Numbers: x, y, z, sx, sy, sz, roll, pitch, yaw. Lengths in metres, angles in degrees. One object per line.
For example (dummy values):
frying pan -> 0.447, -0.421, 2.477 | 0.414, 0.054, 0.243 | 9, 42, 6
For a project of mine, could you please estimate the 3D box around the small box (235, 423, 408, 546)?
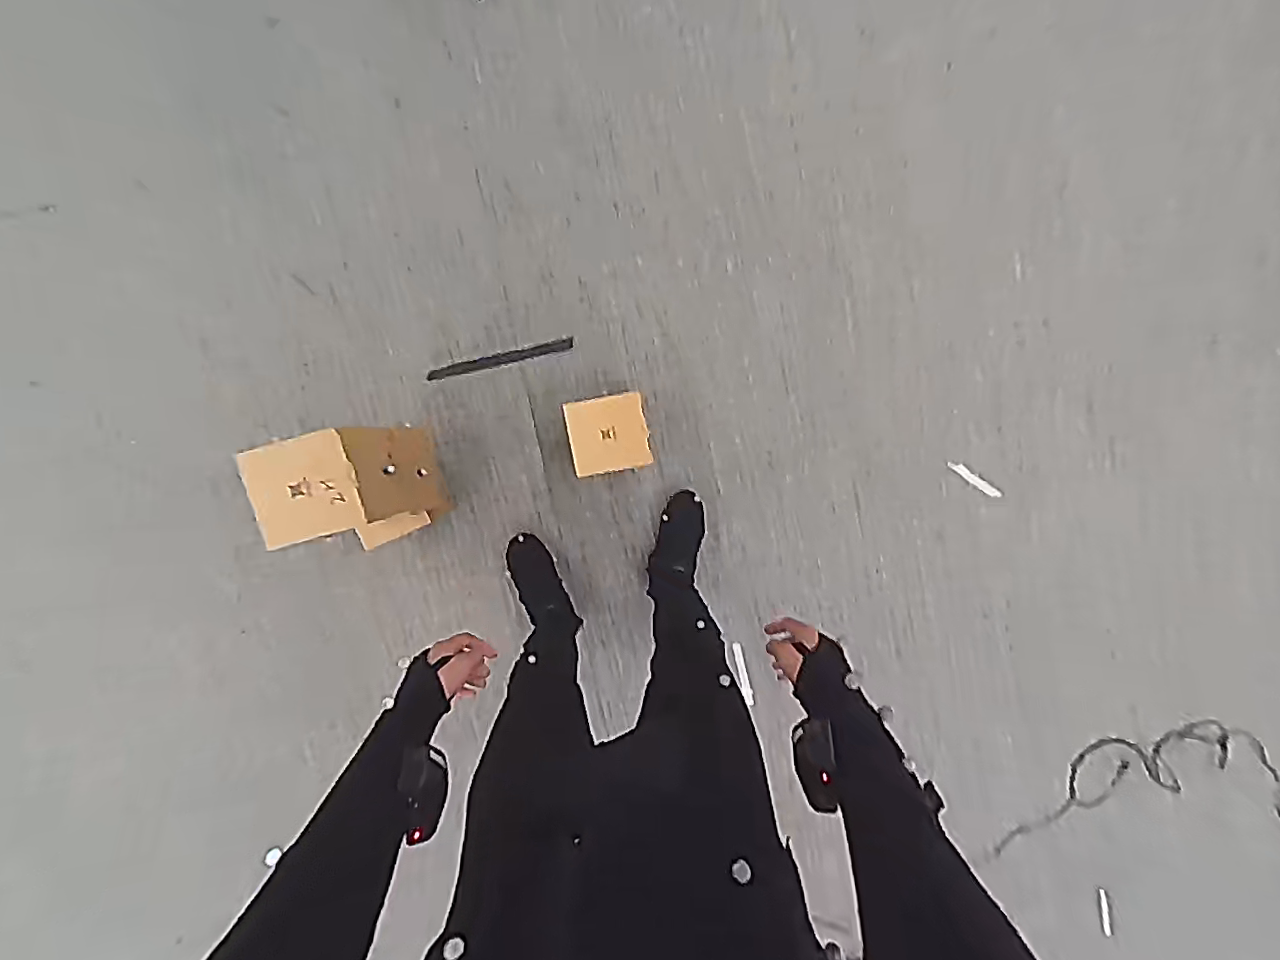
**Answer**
small box -> -0.540, 0.002, 0.940 | 0.179, 0.176, 0.168 | -15, 96, 1

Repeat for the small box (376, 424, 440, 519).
small box -> -0.527, -0.017, 1.104 | 0.168, 0.176, 0.179 | -8, 96, 0

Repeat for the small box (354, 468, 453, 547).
small box -> -0.571, 0.034, 1.272 | 0.168, 0.176, 0.179 | -23, 96, 2

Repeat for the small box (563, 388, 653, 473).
small box -> -0.072, -0.114, 1.270 | 0.179, 0.176, 0.168 | -11, 96, -1
